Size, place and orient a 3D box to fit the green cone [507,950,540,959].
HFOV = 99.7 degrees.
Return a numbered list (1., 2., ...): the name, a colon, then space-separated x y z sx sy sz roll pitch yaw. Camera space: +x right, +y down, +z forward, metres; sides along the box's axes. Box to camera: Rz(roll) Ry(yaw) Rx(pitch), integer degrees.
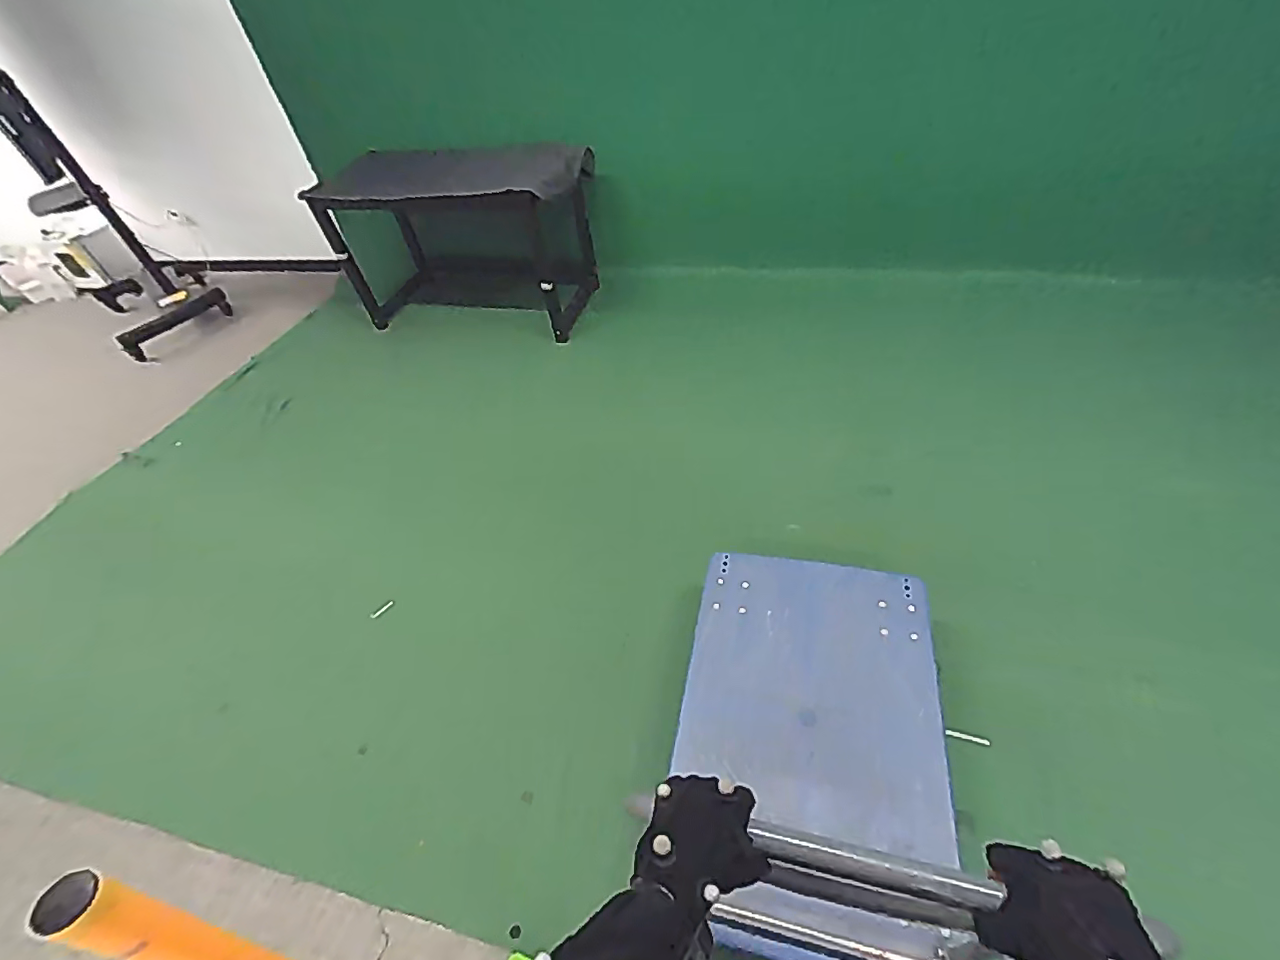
1. green cone: -0.233 0.959 0.940 0.202 0.368 0.200 9 48 18
